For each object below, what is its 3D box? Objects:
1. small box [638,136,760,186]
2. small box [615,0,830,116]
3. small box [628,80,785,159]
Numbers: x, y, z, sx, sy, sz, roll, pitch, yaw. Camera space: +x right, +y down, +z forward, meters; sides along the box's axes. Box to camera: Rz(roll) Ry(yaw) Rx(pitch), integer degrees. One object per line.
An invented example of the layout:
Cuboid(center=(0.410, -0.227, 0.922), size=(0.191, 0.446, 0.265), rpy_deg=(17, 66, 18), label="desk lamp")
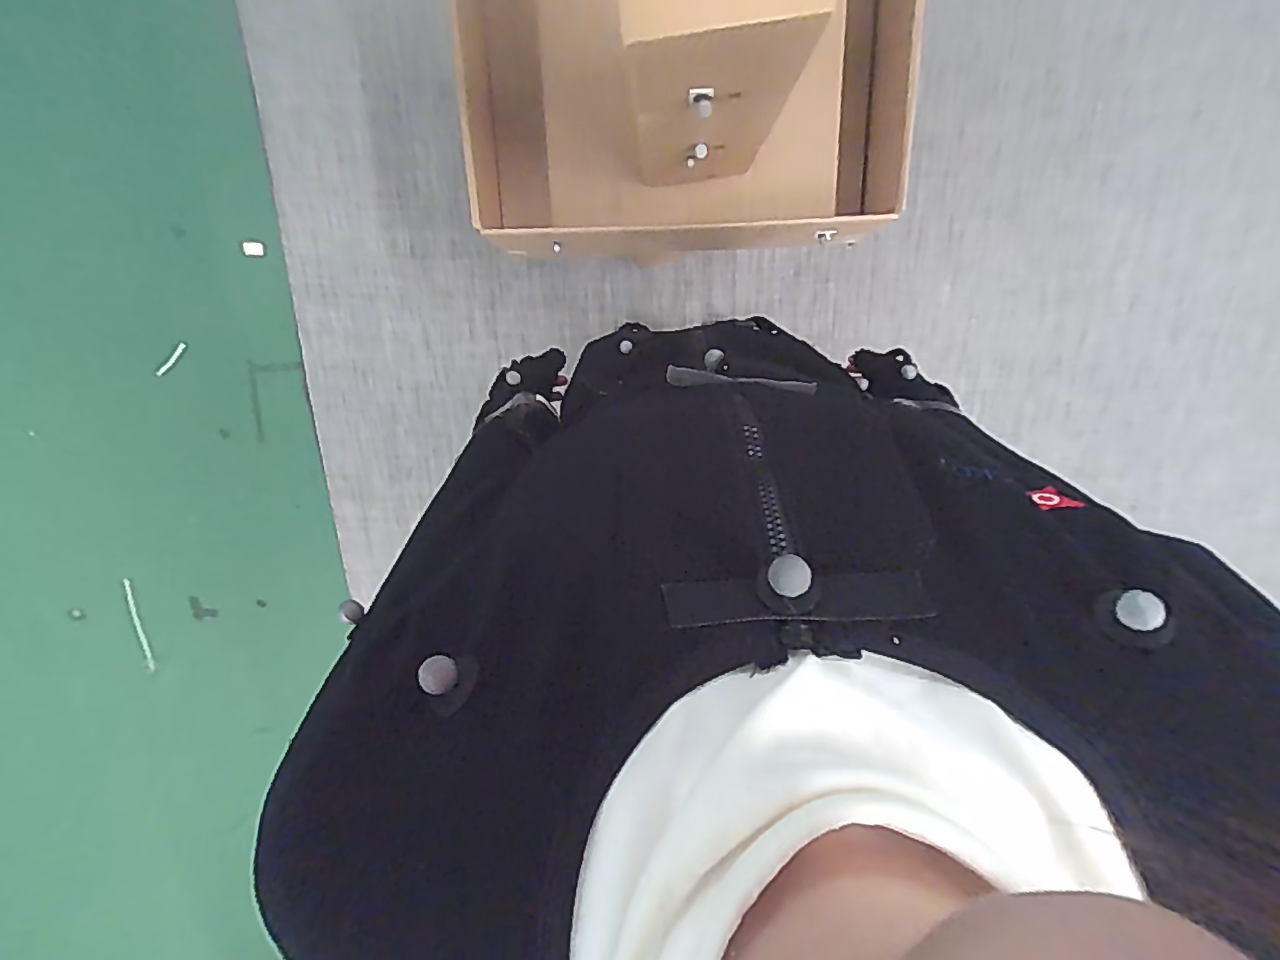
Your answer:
Cuboid(center=(0.075, -0.551, 0.780), size=(0.168, 0.176, 0.179), rpy_deg=(-5, 105, 6), label="small box")
Cuboid(center=(0.059, -0.454, 0.470), size=(0.168, 0.176, 0.179), rpy_deg=(-5, 107, 5), label="small box")
Cuboid(center=(0.066, -0.500, 0.625), size=(0.168, 0.176, 0.179), rpy_deg=(-5, 106, 4), label="small box")
